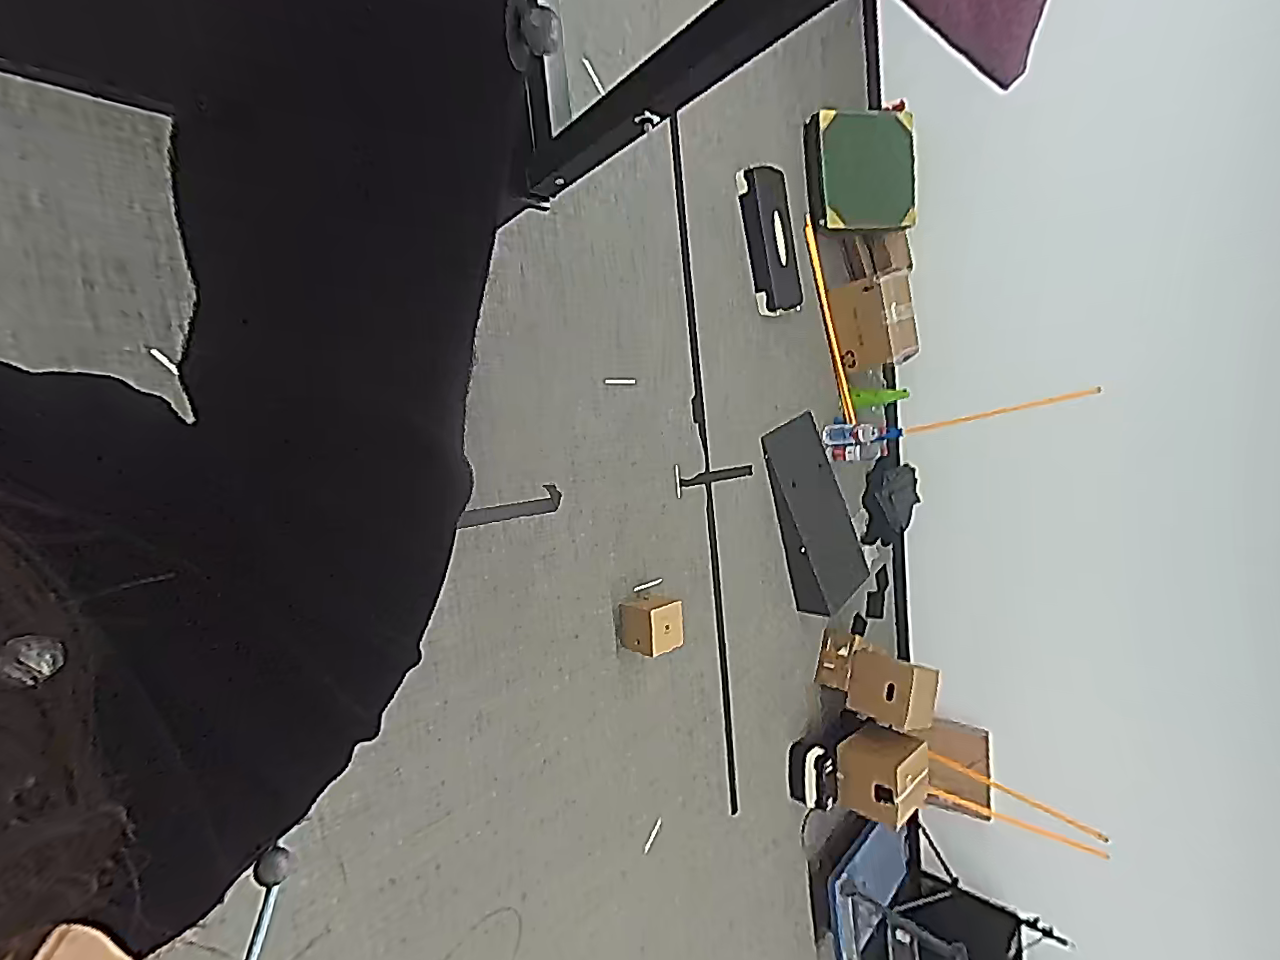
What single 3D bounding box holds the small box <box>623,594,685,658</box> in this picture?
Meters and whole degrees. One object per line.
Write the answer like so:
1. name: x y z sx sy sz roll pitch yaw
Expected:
1. small box: 0.051 0.543 2.034 0.168 0.176 0.179 -7 94 -43
